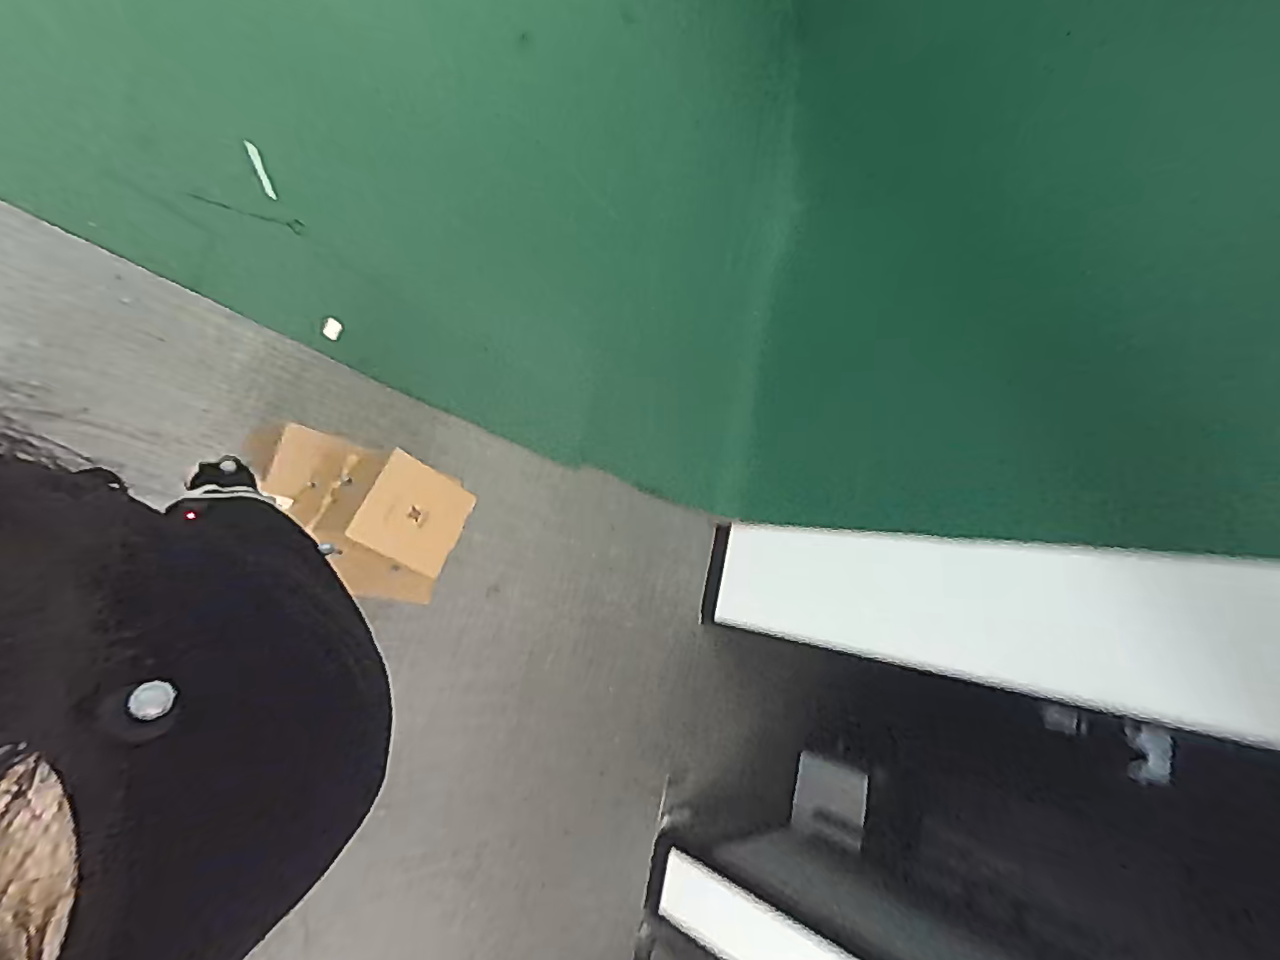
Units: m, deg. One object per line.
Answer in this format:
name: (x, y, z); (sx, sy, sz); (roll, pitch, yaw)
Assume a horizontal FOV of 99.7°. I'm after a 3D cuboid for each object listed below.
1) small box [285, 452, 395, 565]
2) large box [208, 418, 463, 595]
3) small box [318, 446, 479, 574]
small box: (-0.565, 0.055, 1.086); (0.179, 0.176, 0.168); (38, 63, -40)
large box: (-0.711, 0.073, 1.287); (0.408, 0.320, 0.320); (25, 73, -45)
small box: (-0.438, 0.054, 0.983); (0.179, 0.176, 0.168); (42, 60, -38)
